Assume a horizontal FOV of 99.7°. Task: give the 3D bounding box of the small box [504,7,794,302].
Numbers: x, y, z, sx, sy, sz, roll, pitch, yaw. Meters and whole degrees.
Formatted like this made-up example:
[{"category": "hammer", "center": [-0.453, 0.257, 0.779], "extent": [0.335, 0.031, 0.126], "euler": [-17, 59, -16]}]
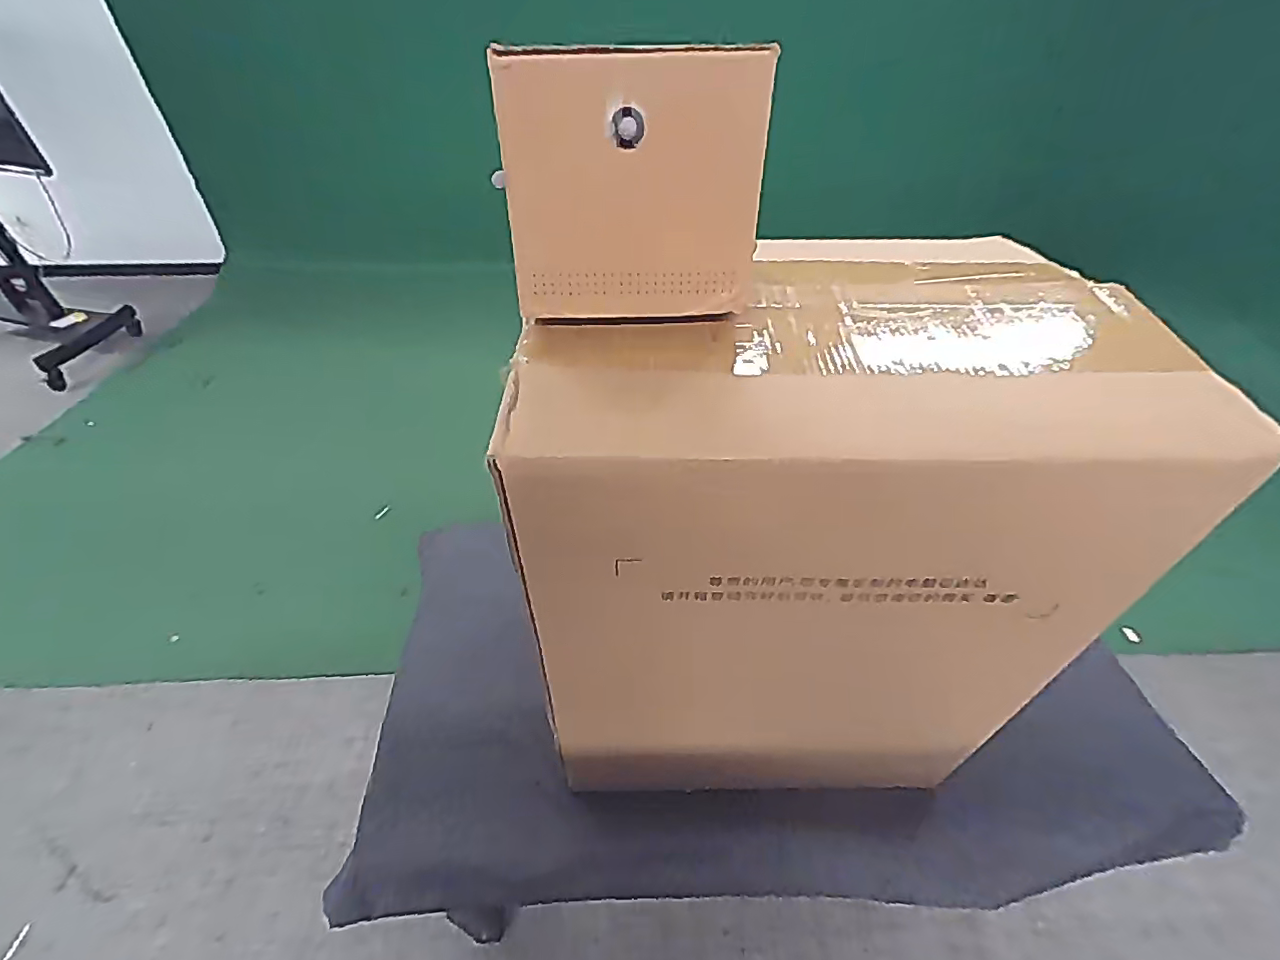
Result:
[{"category": "small box", "center": [0.000, -0.248, 0.426], "extent": [0.179, 0.176, 0.168], "euler": [0, 37, -4]}]
